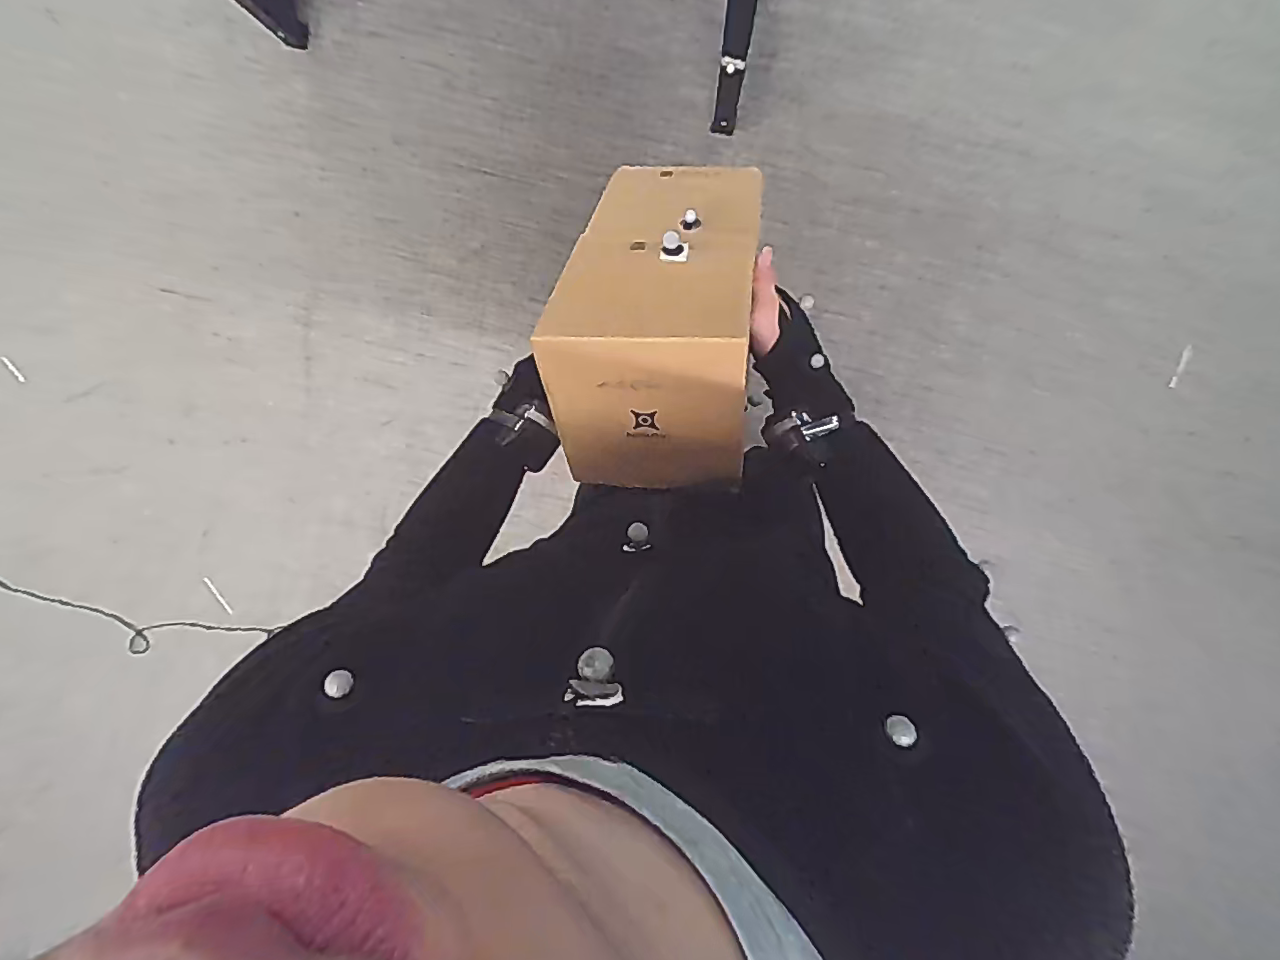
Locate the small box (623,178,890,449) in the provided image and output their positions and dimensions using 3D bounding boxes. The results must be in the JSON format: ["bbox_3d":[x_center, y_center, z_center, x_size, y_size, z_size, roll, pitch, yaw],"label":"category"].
[{"bbox_3d":[0.099,-0.161,0.524,0.179,0.168,0.176,16,124,-18],"label":"small box"}]
